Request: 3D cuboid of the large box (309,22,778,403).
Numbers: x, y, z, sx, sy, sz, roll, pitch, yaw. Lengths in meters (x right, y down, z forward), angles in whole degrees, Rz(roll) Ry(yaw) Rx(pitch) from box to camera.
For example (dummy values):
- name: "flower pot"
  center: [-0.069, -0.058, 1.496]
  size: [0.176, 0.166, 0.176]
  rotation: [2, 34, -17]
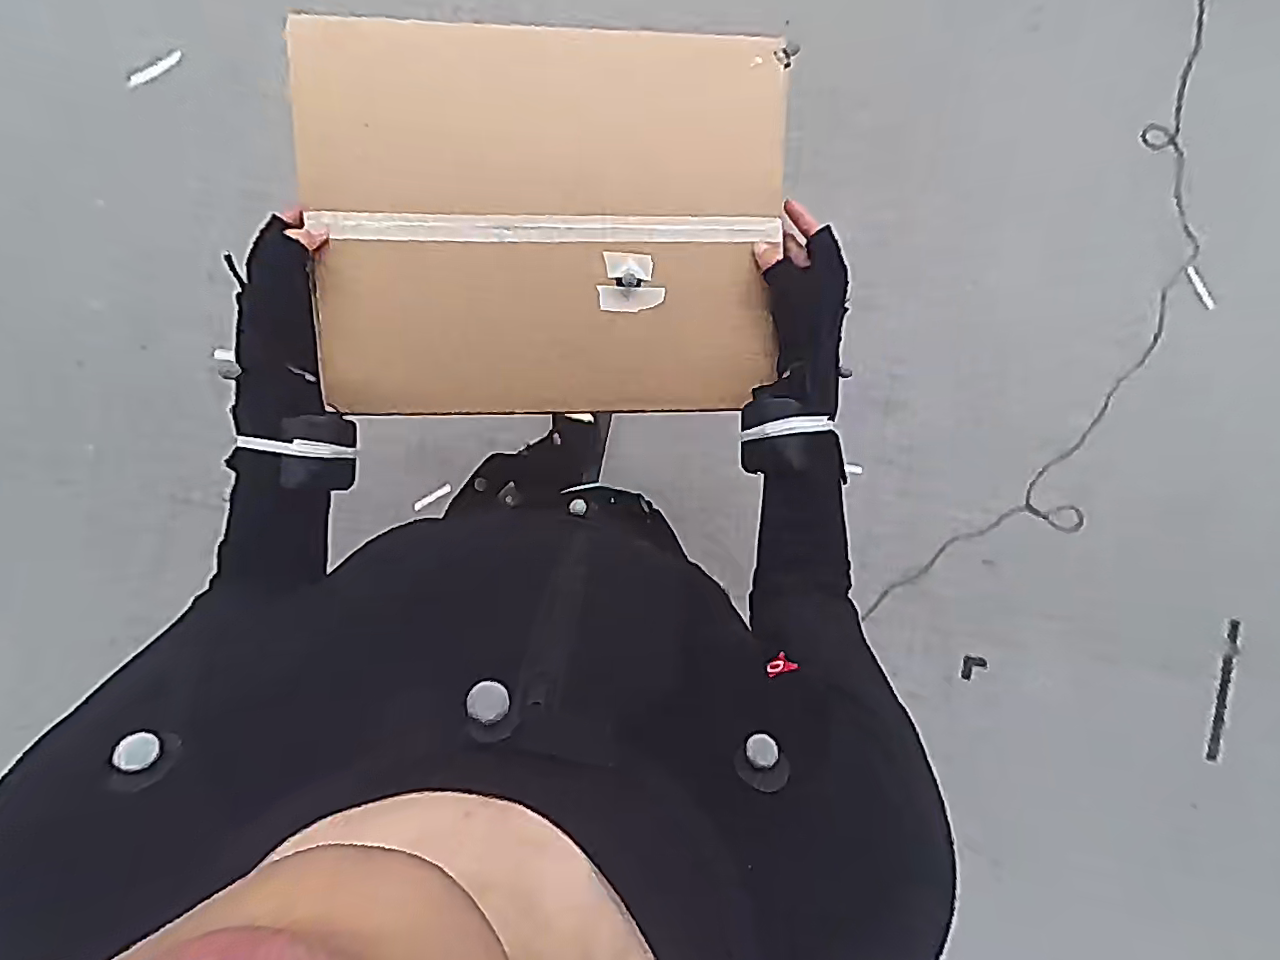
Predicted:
- name: "large box"
  center: [-0.087, -0.253, 0.628]
  size: [0.408, 0.320, 0.320]
  rotation: [-2, 100, -6]
